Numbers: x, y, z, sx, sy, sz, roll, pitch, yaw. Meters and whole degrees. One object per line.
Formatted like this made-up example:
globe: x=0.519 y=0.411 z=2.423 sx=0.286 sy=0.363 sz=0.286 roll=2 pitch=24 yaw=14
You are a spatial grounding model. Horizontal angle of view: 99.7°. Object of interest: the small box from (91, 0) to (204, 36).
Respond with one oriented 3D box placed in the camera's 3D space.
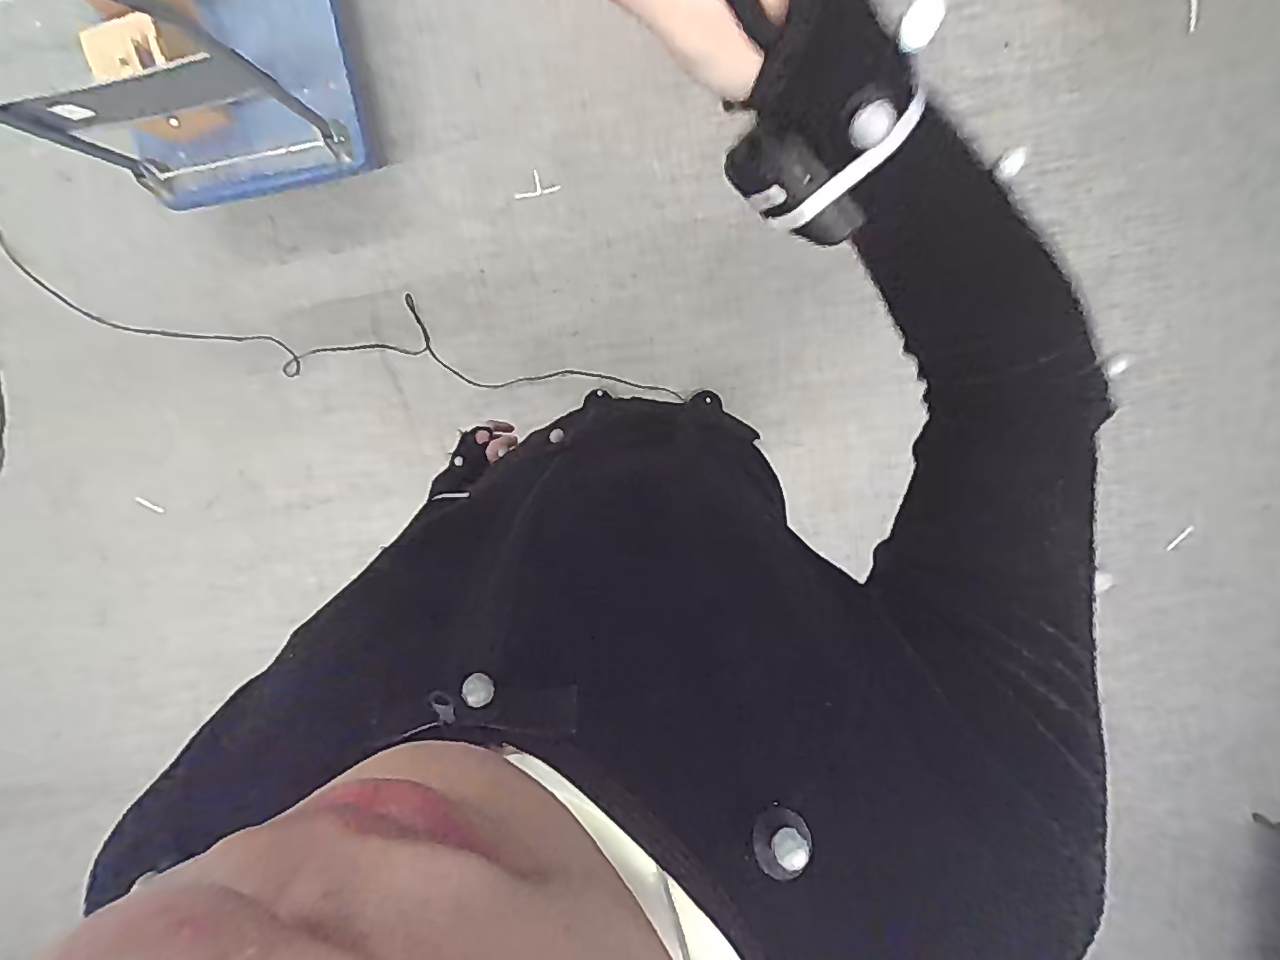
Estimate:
small box: x=-1.151 y=-1.153 z=1.221 sx=0.179 sy=0.176 sz=0.168 roll=-9 pitch=99 yaw=2
